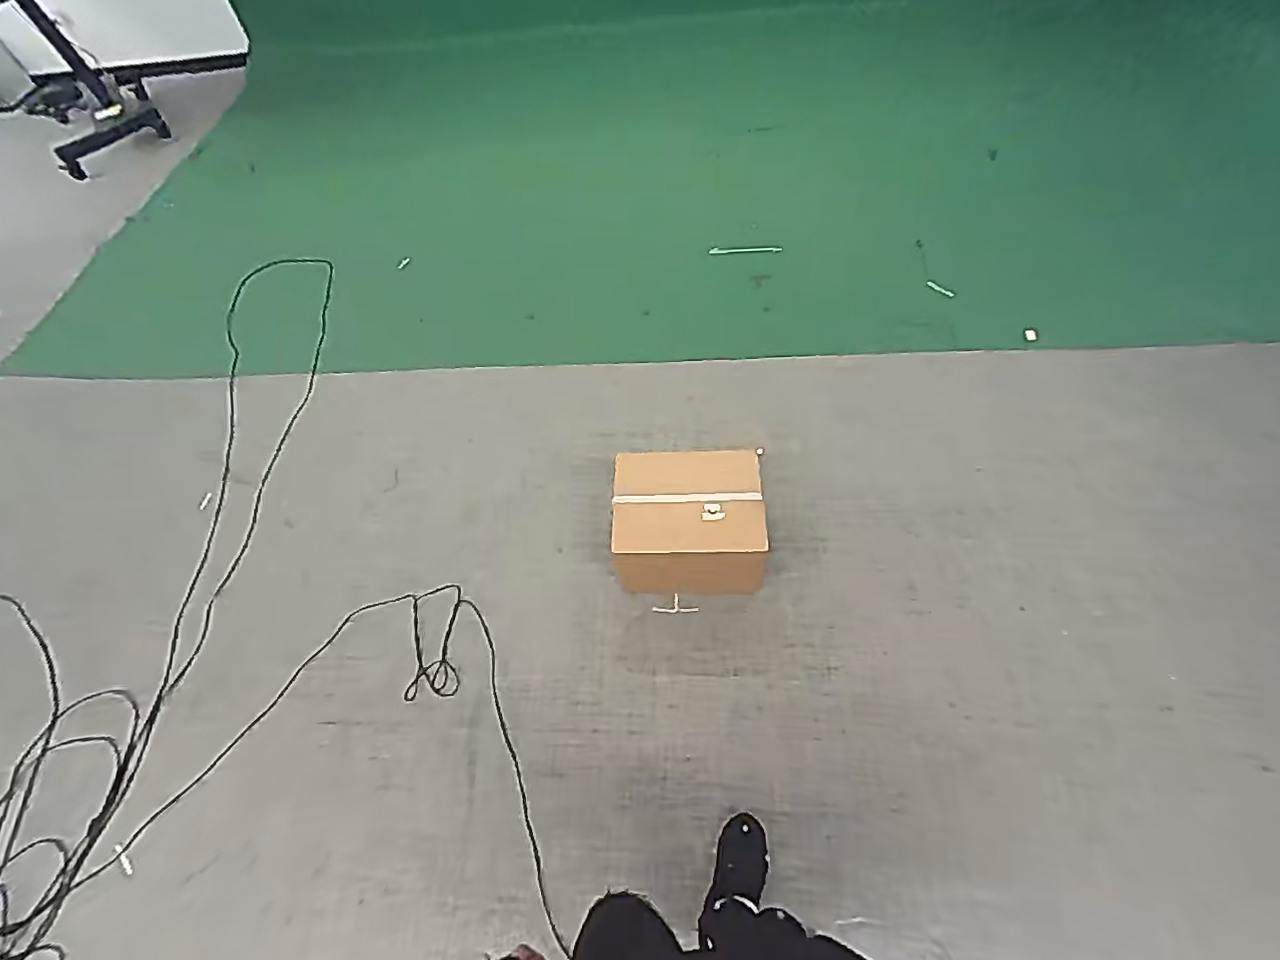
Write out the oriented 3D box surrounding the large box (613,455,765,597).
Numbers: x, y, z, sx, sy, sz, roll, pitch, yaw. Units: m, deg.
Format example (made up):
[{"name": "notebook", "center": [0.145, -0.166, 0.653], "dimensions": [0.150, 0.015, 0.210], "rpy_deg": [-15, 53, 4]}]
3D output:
[{"name": "large box", "center": [0.135, 0.145, 1.604], "dimensions": [0.408, 0.320, 0.320], "rpy_deg": [-2, 58, 4]}]
